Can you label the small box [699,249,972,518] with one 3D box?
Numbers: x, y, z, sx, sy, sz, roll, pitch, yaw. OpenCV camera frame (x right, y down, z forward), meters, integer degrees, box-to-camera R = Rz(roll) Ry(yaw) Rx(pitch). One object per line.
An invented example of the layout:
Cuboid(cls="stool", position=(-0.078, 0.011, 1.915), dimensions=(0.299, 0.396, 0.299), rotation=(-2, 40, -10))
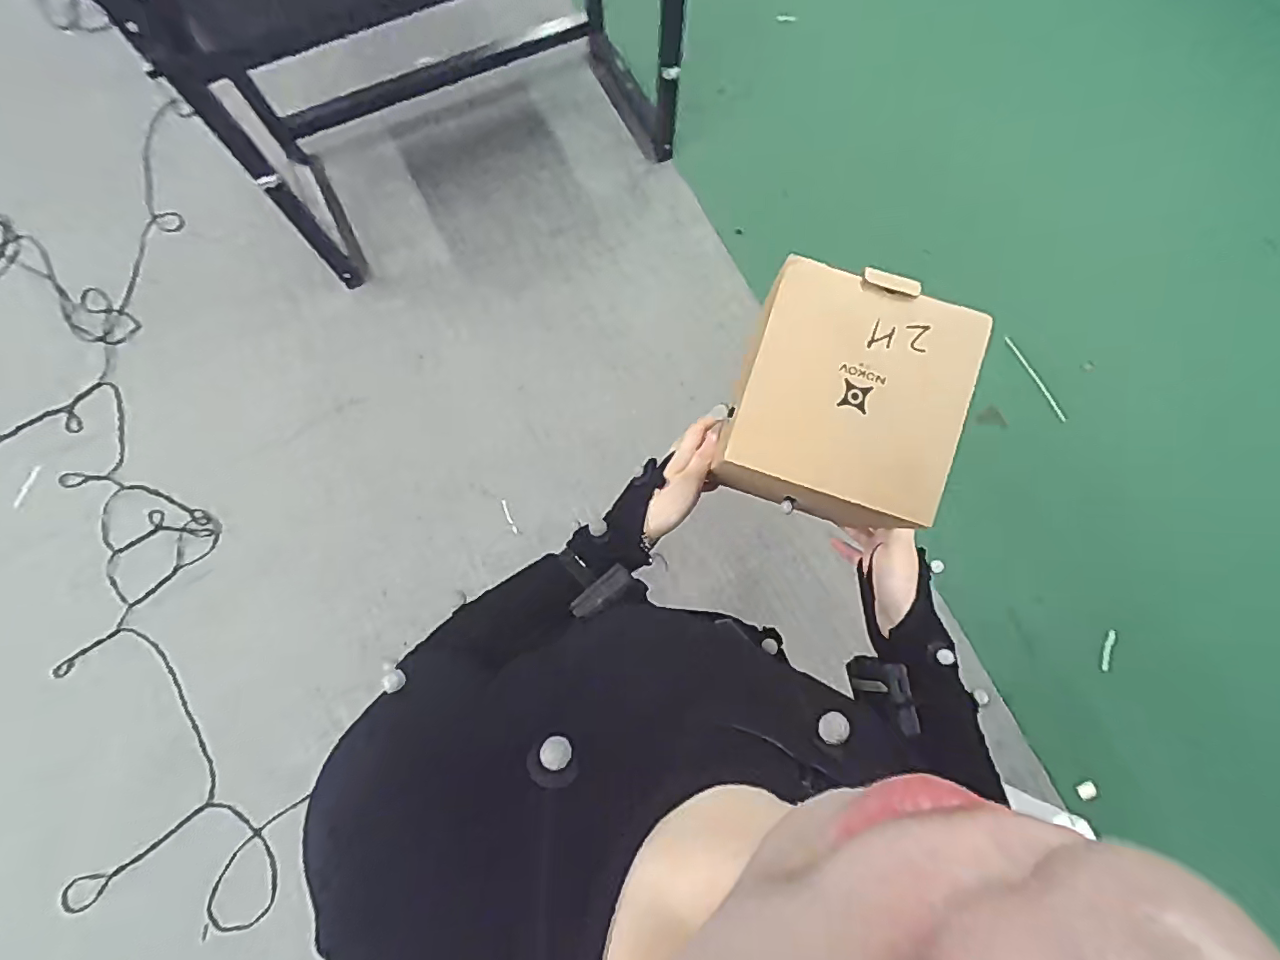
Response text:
Cuboid(cls="small box", position=(0.158, -0.071, 0.498), dimensions=(0.168, 0.176, 0.179), rotation=(18, 86, 2))
